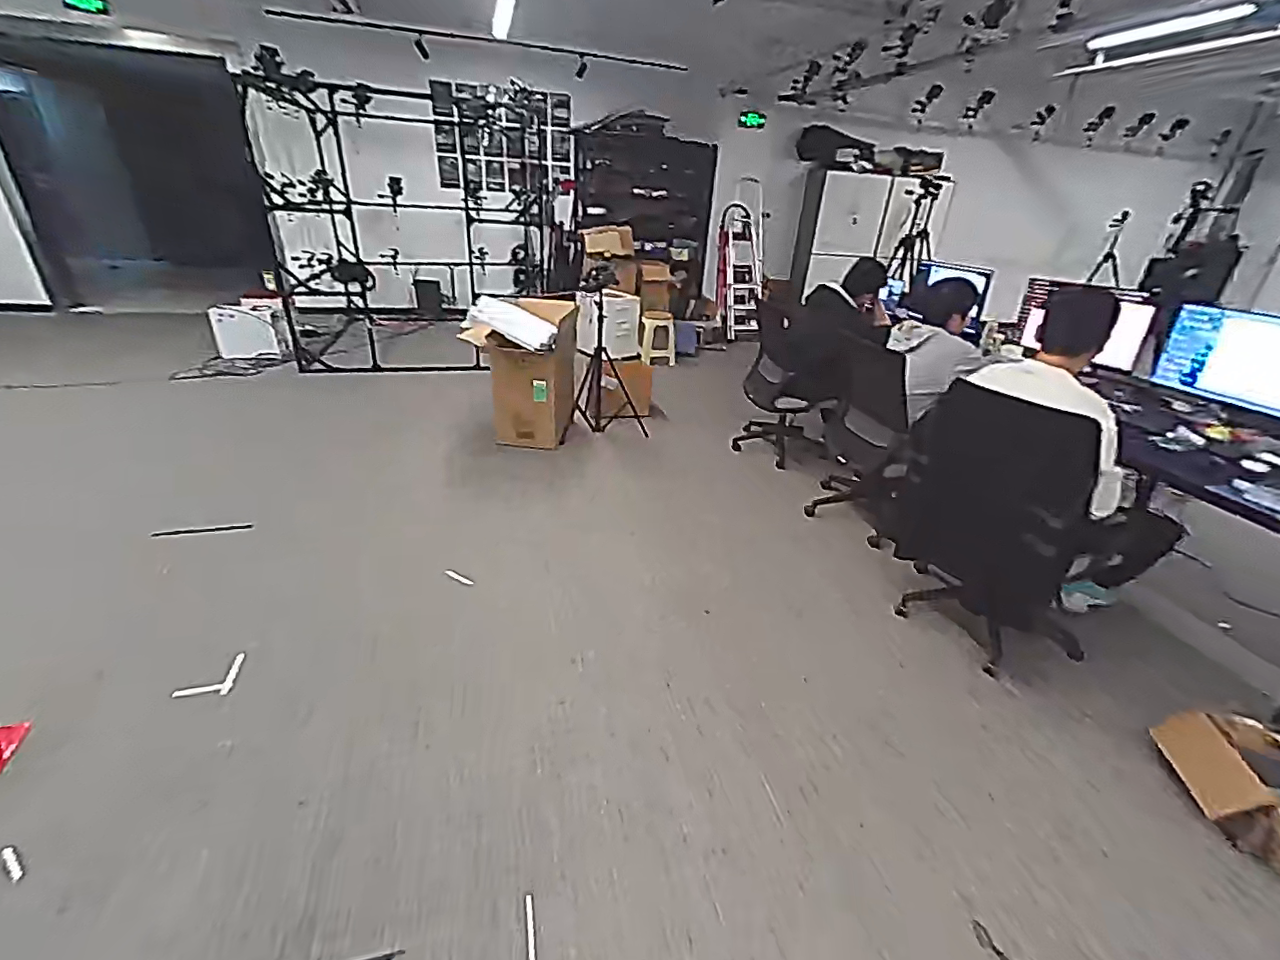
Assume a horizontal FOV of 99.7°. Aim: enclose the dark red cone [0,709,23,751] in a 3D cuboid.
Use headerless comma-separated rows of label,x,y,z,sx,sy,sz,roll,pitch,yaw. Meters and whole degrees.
dark red cone,-1.789,0.564,1.351,0.202,0.394,0.201,-7,30,-20
